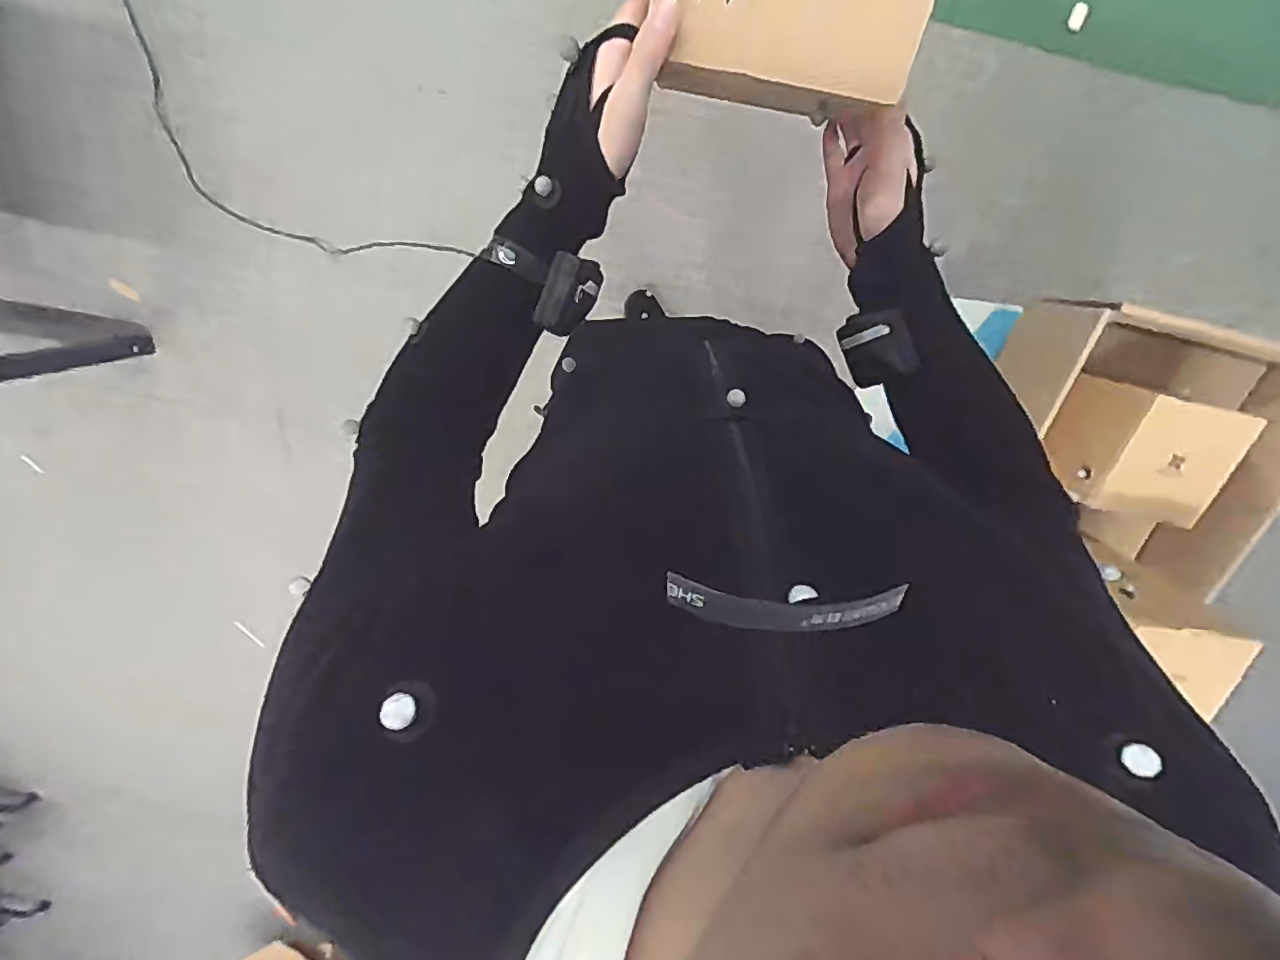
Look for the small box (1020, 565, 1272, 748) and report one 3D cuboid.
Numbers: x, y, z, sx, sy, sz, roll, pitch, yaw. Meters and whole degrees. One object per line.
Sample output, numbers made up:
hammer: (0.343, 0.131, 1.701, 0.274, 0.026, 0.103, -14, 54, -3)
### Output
small box: (0.694, 0.242, 0.771, 0.168, 0.176, 0.179, 9, 112, 0)
